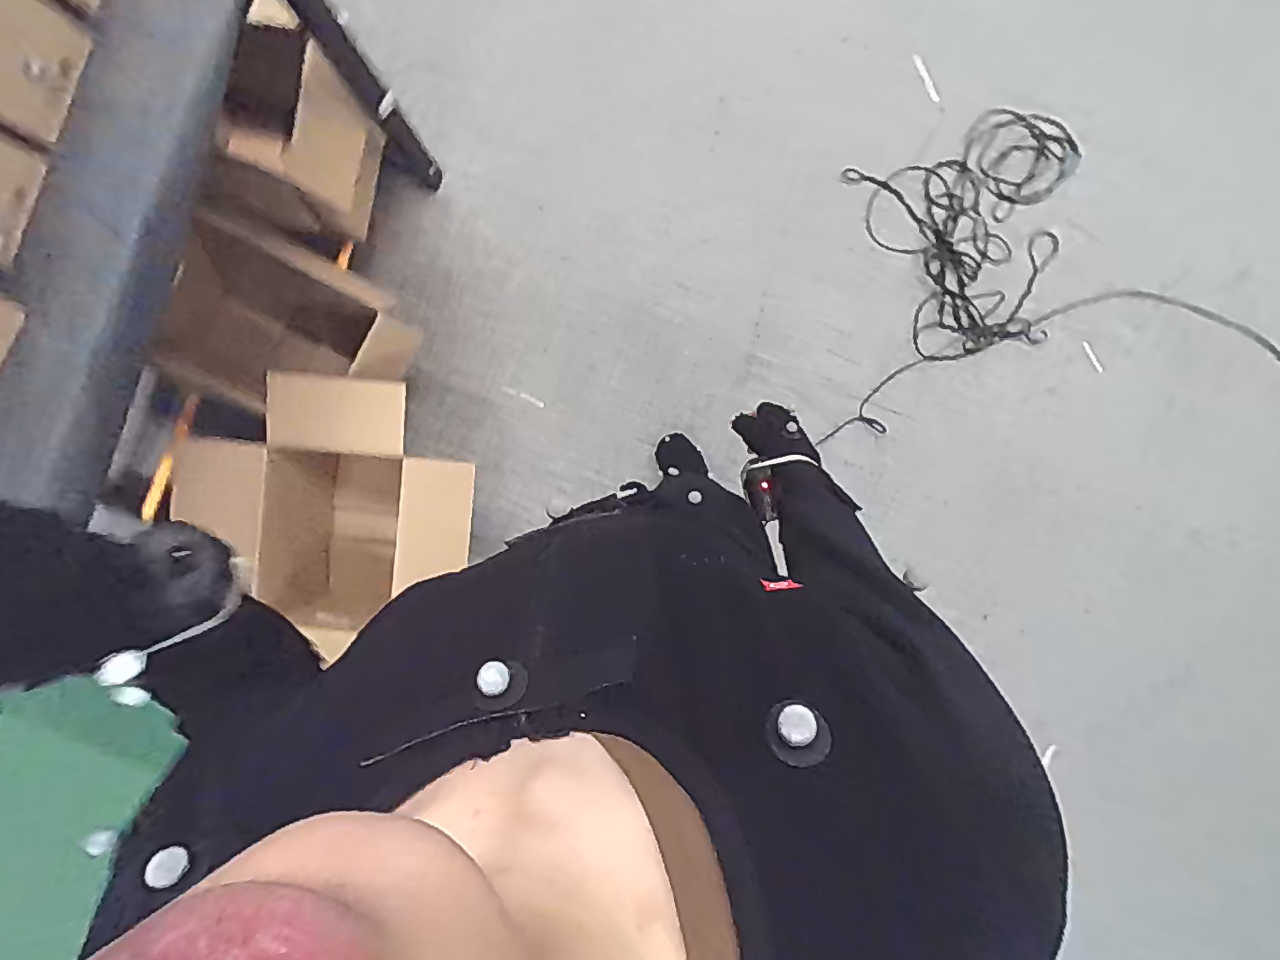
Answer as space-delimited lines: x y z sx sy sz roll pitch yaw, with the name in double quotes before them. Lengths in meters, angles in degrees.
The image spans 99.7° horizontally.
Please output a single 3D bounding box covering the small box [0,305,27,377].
"small box" -0.987 -0.199 0.695 0.179 0.176 0.168 29 90 1
